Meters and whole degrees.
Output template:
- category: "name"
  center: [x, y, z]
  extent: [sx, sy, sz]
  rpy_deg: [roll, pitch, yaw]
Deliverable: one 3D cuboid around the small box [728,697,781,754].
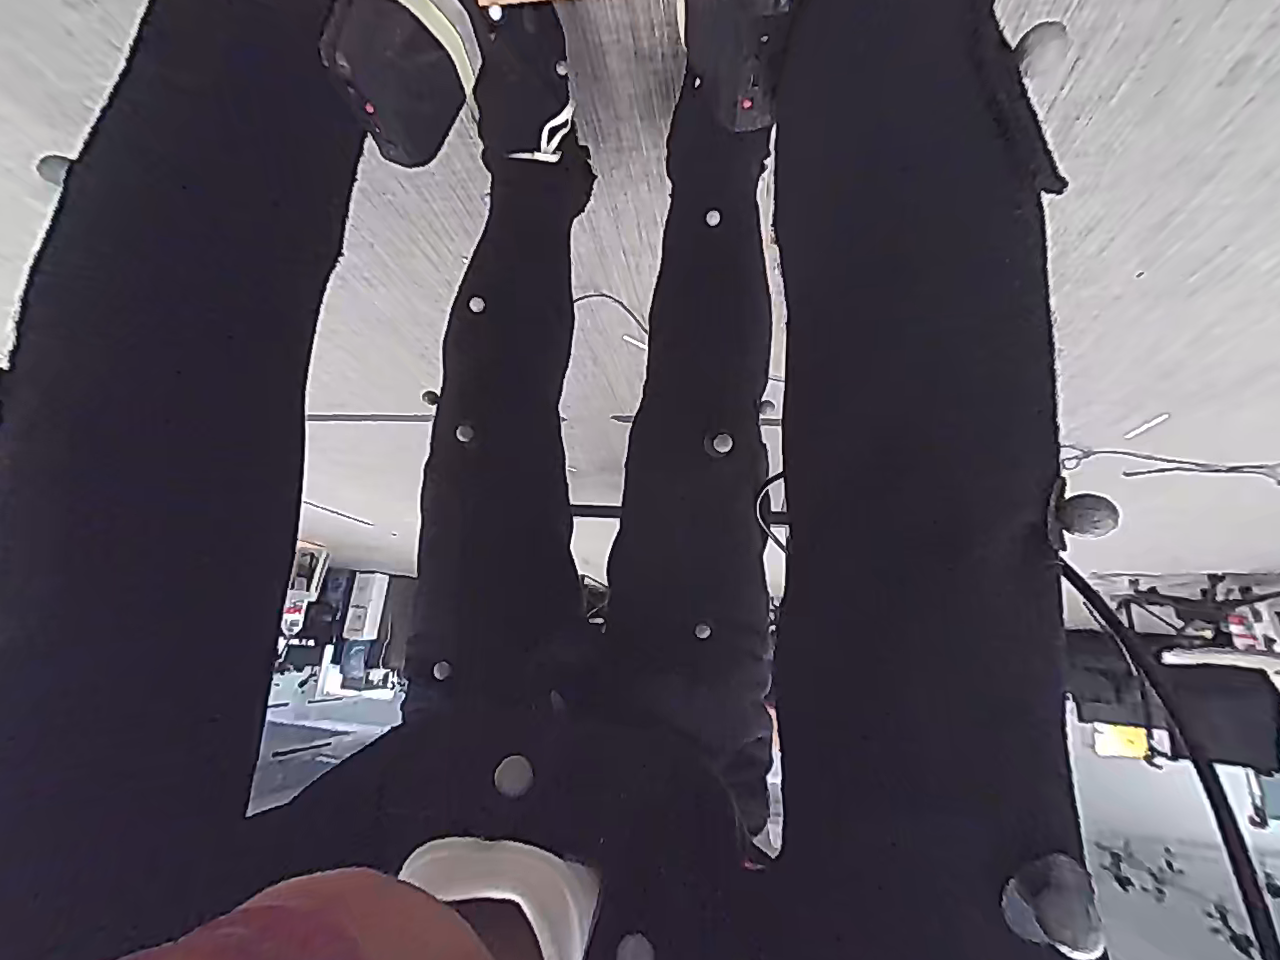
- category: "small box"
  center: [0.419, 0.890, 1.978]
  extent: [0.168, 0.176, 0.179]
  rpy_deg: [3, 161, 3]
